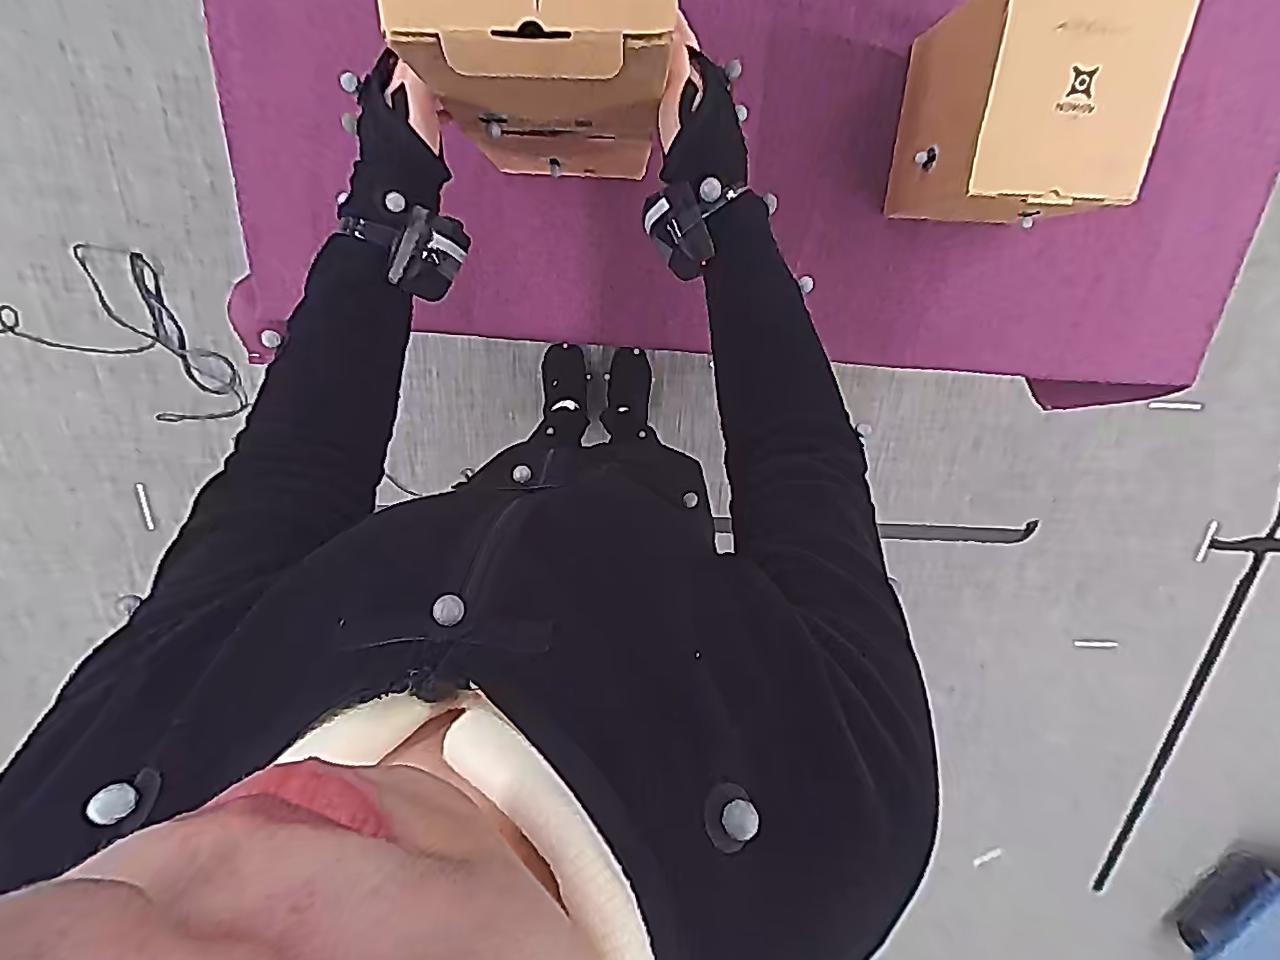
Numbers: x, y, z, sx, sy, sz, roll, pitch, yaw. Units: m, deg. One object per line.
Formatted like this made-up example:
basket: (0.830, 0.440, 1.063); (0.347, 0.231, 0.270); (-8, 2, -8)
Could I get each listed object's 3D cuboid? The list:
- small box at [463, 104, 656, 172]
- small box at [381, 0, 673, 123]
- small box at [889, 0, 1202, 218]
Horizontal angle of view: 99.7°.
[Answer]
small box: (-0.069, -0.408, 0.510); (0.168, 0.176, 0.179); (1, 111, -3)
small box: (-0.063, -0.355, 0.352); (0.168, 0.176, 0.179); (-1, 108, -3)
small box: (0.377, -0.368, 0.543); (0.168, 0.176, 0.179); (2, 110, -3)
